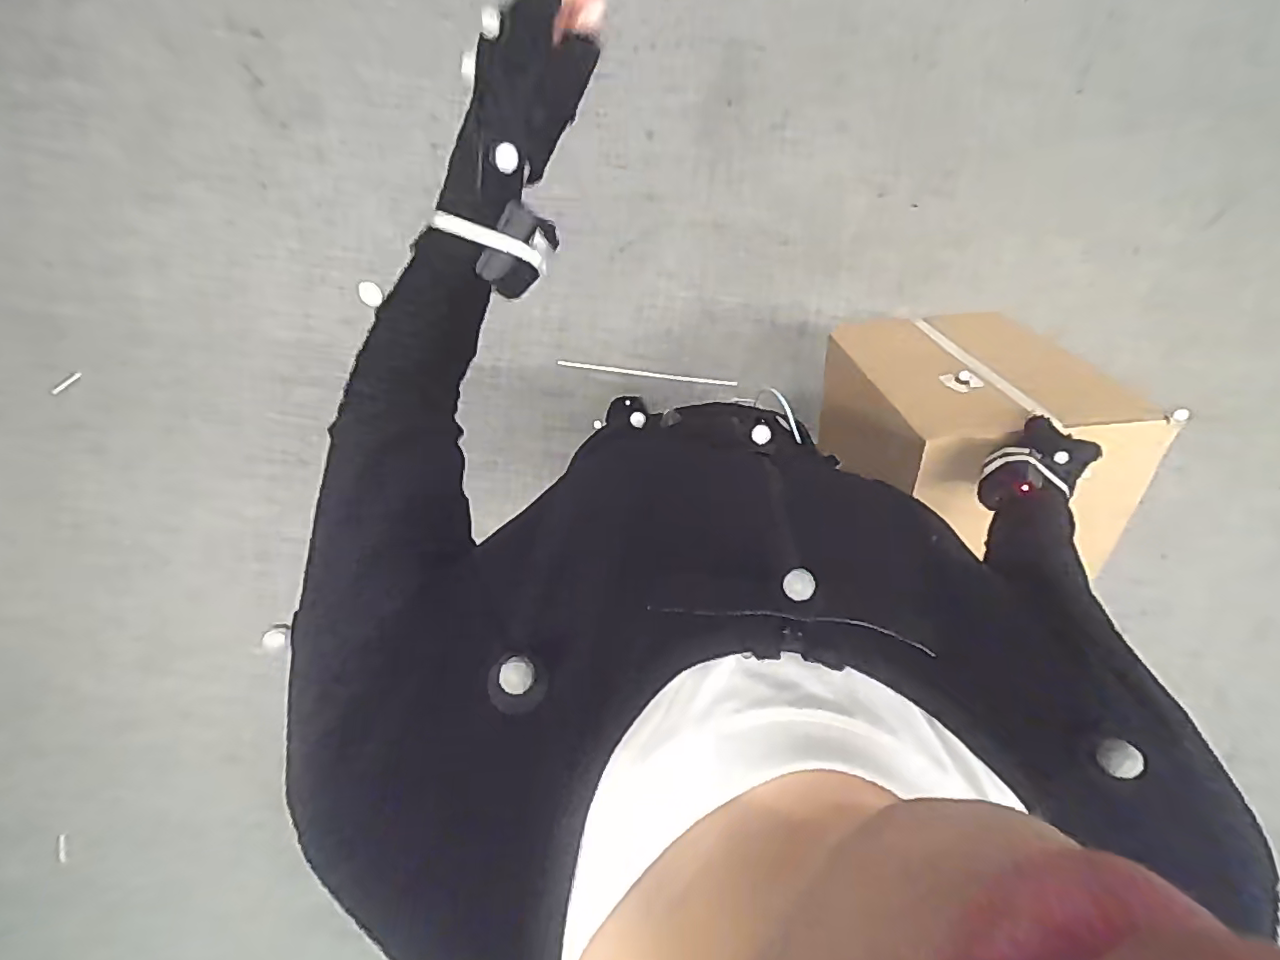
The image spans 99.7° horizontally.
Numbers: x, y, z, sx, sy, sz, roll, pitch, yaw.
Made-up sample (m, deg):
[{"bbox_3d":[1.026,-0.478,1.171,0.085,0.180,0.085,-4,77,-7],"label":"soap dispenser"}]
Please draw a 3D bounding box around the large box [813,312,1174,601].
[{"bbox_3d":[0.516,-0.058,0.918,0.320,0.408,0.320,-6,126,2],"label":"large box"}]
